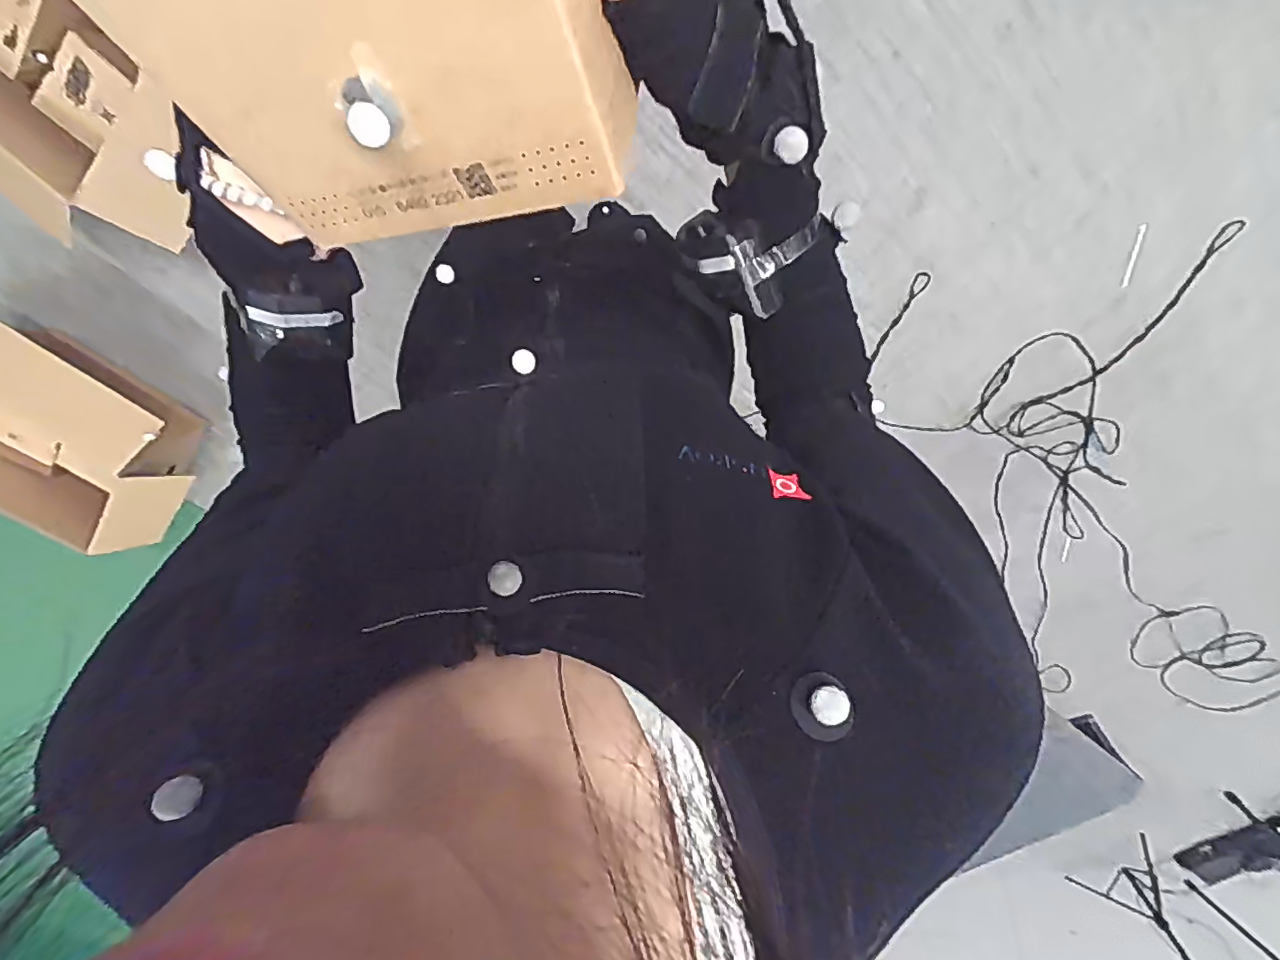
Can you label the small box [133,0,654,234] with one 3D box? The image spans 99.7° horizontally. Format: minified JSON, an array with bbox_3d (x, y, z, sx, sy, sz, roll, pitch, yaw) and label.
[{"bbox_3d":[-0.095,-0.234,0.215,0.168,0.179,0.176,-1,155,17],"label":"small box"}]
